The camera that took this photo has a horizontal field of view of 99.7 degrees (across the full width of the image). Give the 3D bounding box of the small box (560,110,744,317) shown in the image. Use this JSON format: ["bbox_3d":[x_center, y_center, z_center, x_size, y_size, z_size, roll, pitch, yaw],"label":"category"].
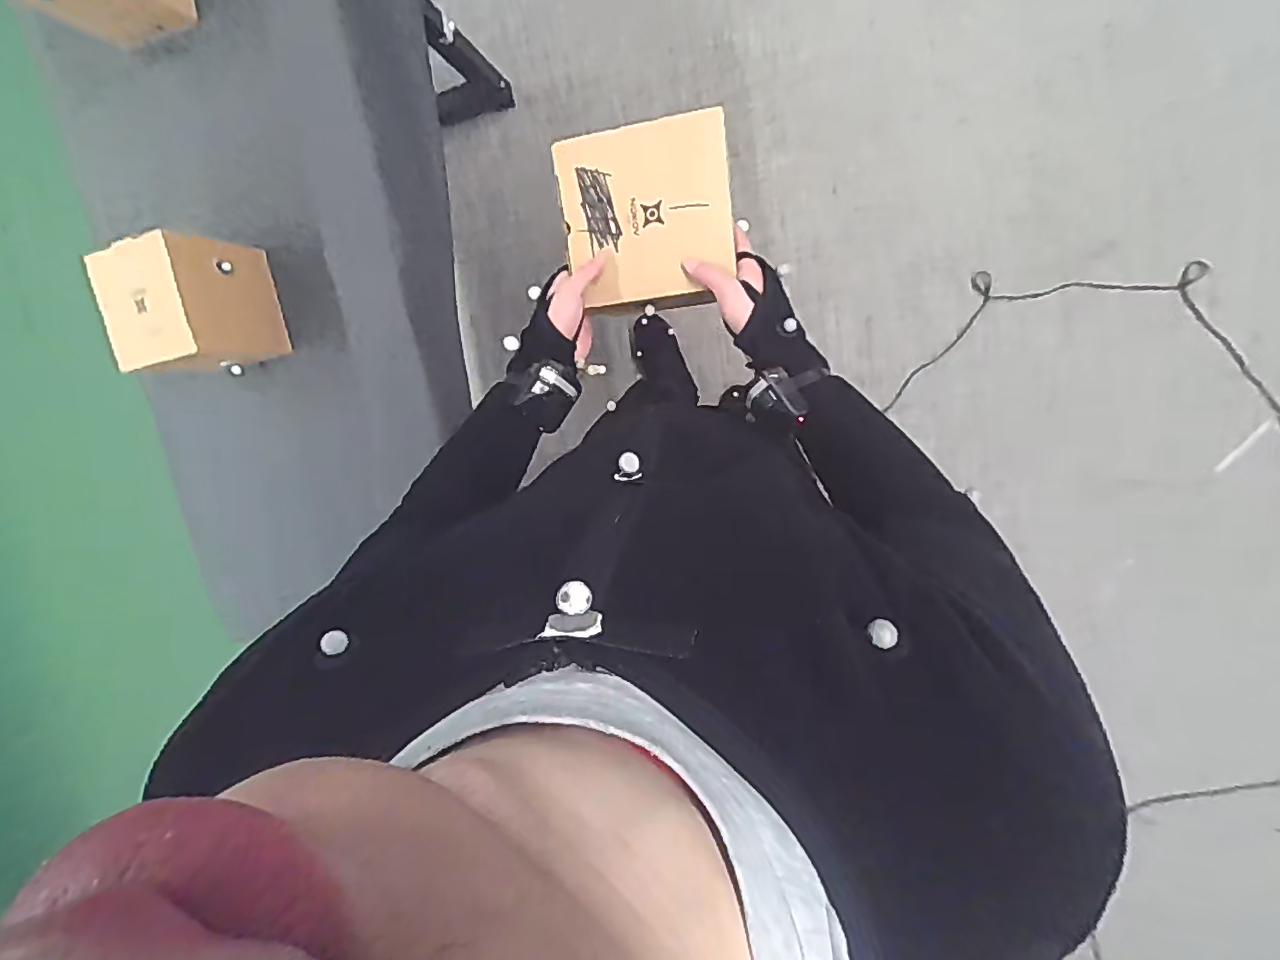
[{"bbox_3d":[0.026,-0.282,0.617,0.179,0.176,0.168,-4,104,10],"label":"small box"}]

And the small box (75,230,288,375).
[{"bbox_3d":[-0.708,-0.268,0.854,0.168,0.176,0.179,-8,101,16],"label":"small box"}]

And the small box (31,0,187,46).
[{"bbox_3d":[-0.799,-0.769,0.761,0.168,0.176,0.179,-4,101,13],"label":"small box"}]
